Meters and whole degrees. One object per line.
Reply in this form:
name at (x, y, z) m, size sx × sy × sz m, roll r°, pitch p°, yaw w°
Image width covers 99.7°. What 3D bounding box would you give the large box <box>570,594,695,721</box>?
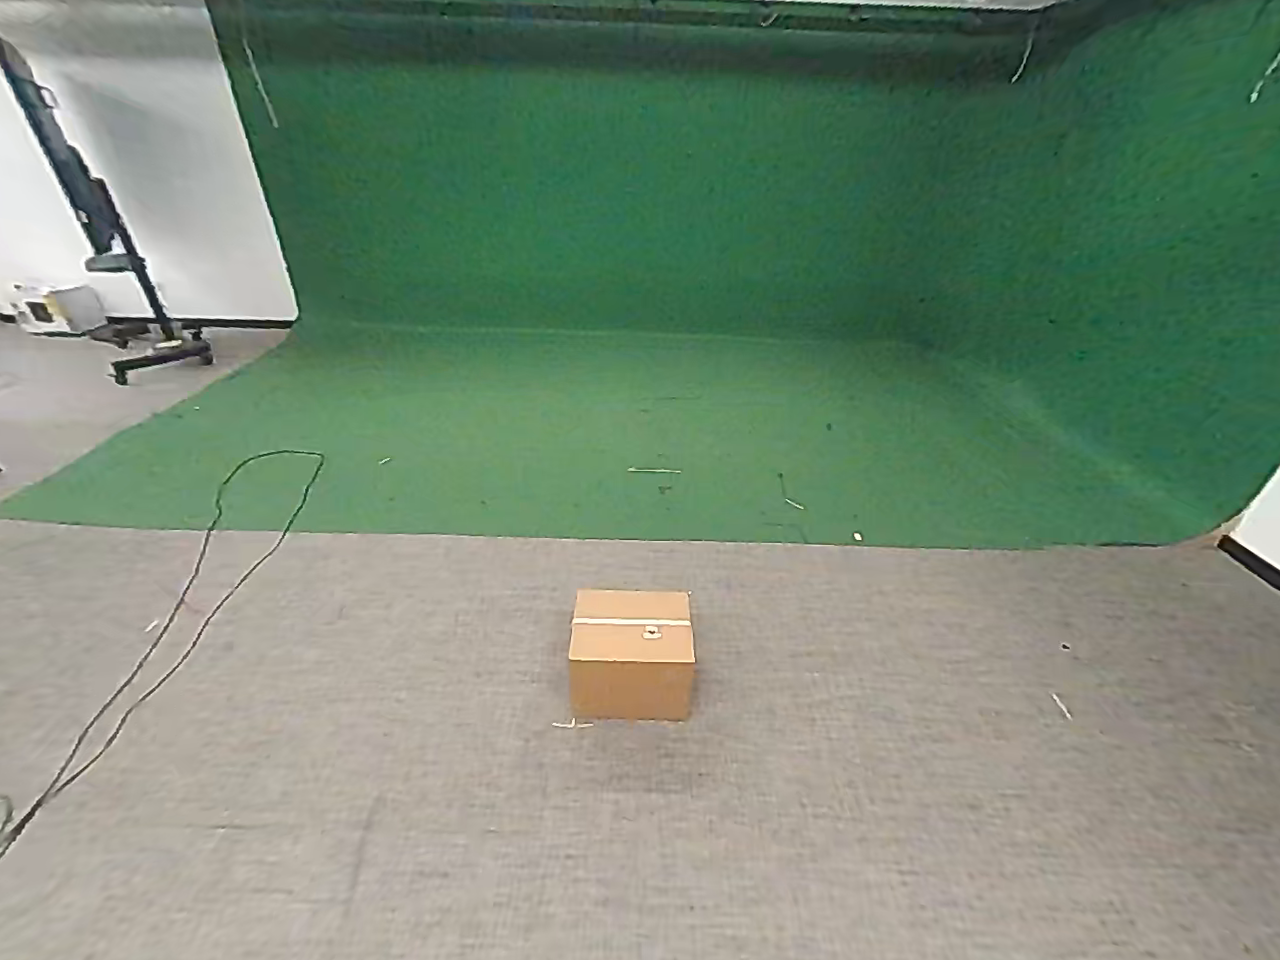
large box at (-0.031, 0.625, 1.906) m, size 0.408 × 0.320 × 0.320 m, roll 2°, pitch 32°, yaw -1°
